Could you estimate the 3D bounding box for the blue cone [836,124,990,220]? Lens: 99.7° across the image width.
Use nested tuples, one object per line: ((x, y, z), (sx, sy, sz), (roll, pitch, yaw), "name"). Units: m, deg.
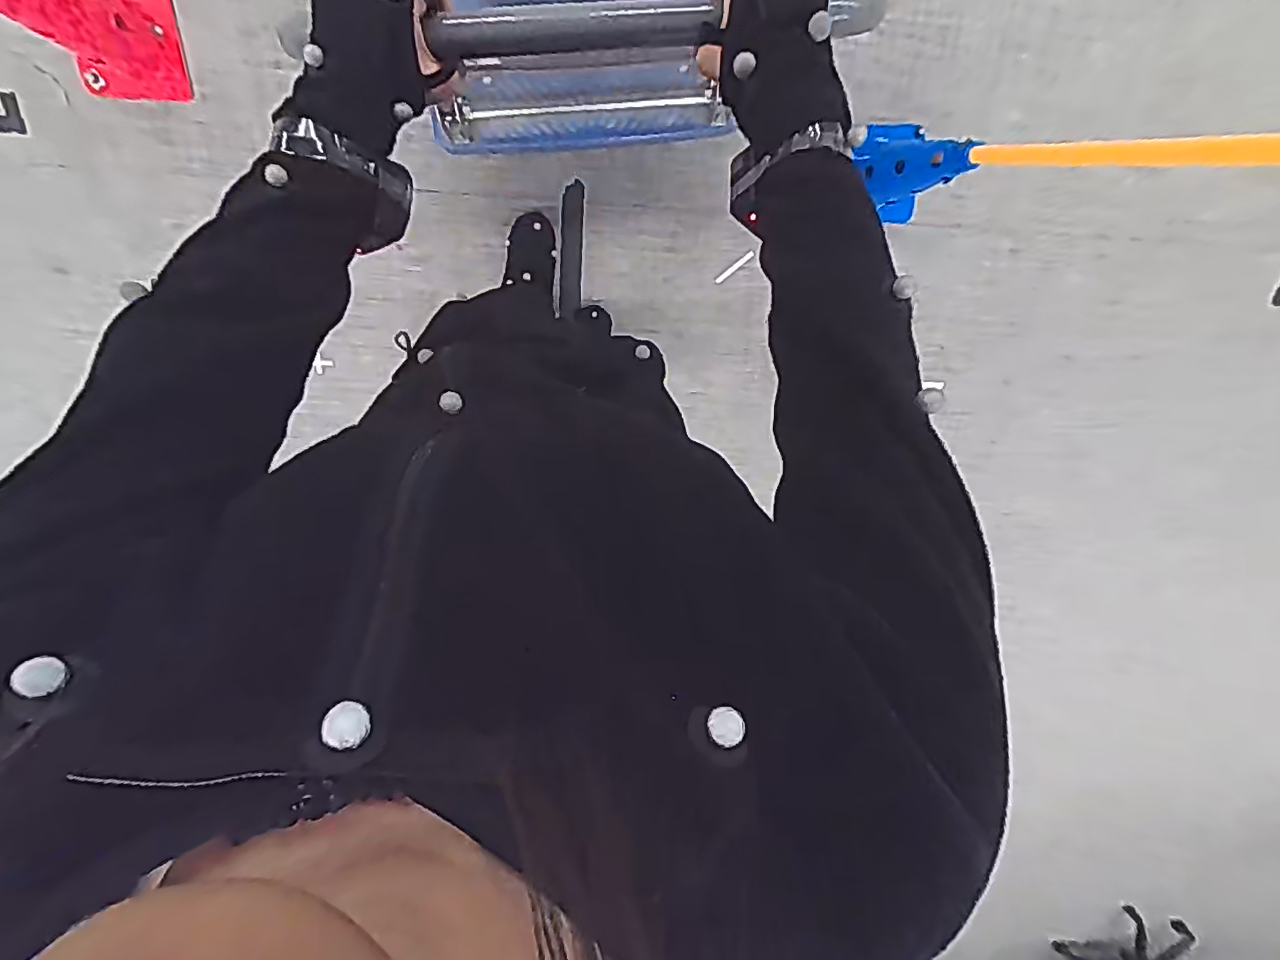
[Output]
((0.555, -0.630, 1.077), (0.193, 0.380, 0.192), (-2, 114, -4), "blue cone")
